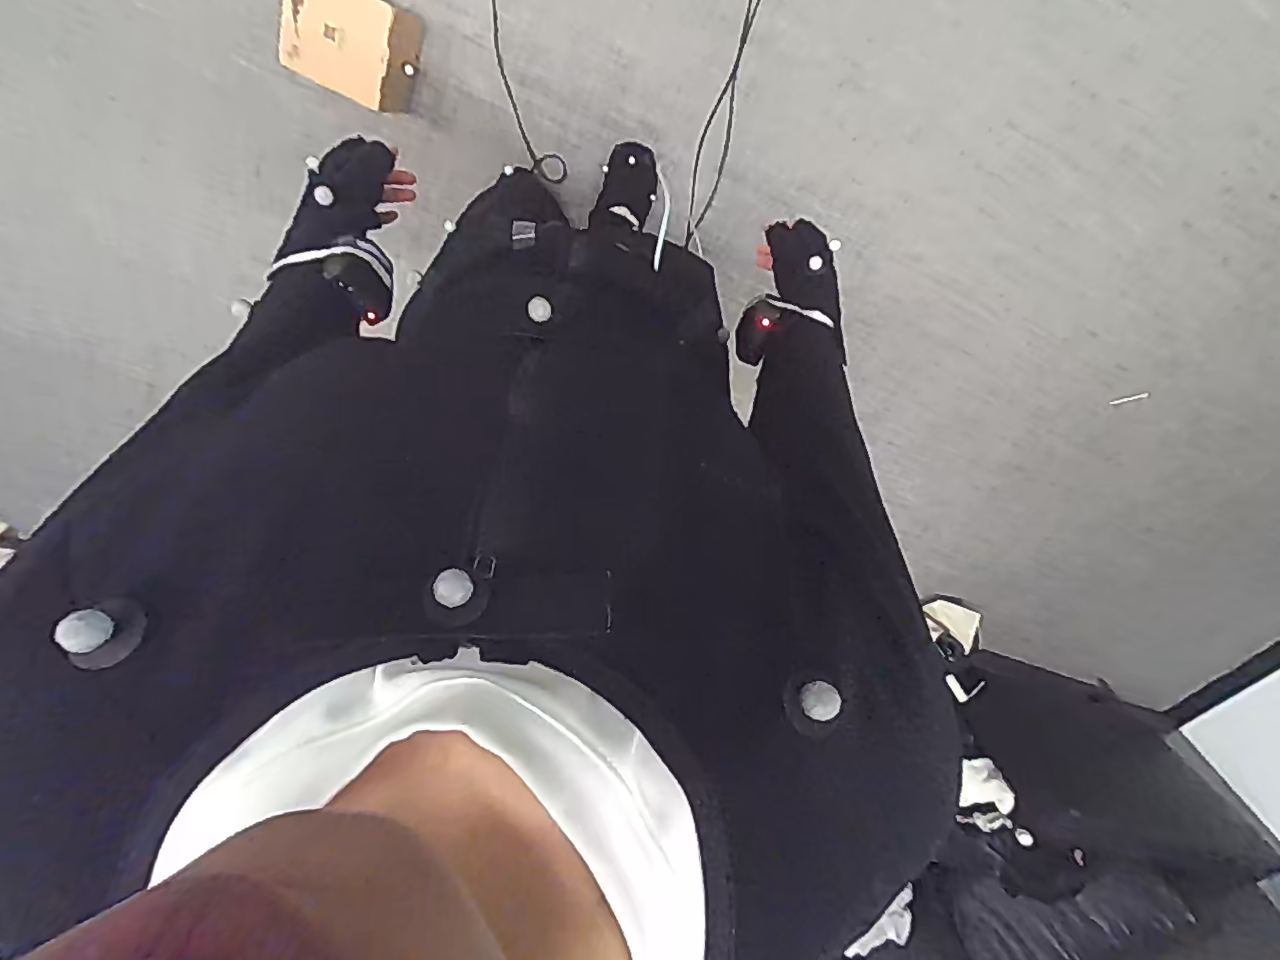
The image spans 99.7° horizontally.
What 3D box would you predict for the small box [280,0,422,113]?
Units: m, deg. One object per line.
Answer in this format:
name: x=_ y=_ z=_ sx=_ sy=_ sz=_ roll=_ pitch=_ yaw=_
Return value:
small box: x=-0.526 y=-0.814 z=1.001 sx=0.179 sy=0.176 sz=0.168 roll=21 pitch=121 yaw=-15
